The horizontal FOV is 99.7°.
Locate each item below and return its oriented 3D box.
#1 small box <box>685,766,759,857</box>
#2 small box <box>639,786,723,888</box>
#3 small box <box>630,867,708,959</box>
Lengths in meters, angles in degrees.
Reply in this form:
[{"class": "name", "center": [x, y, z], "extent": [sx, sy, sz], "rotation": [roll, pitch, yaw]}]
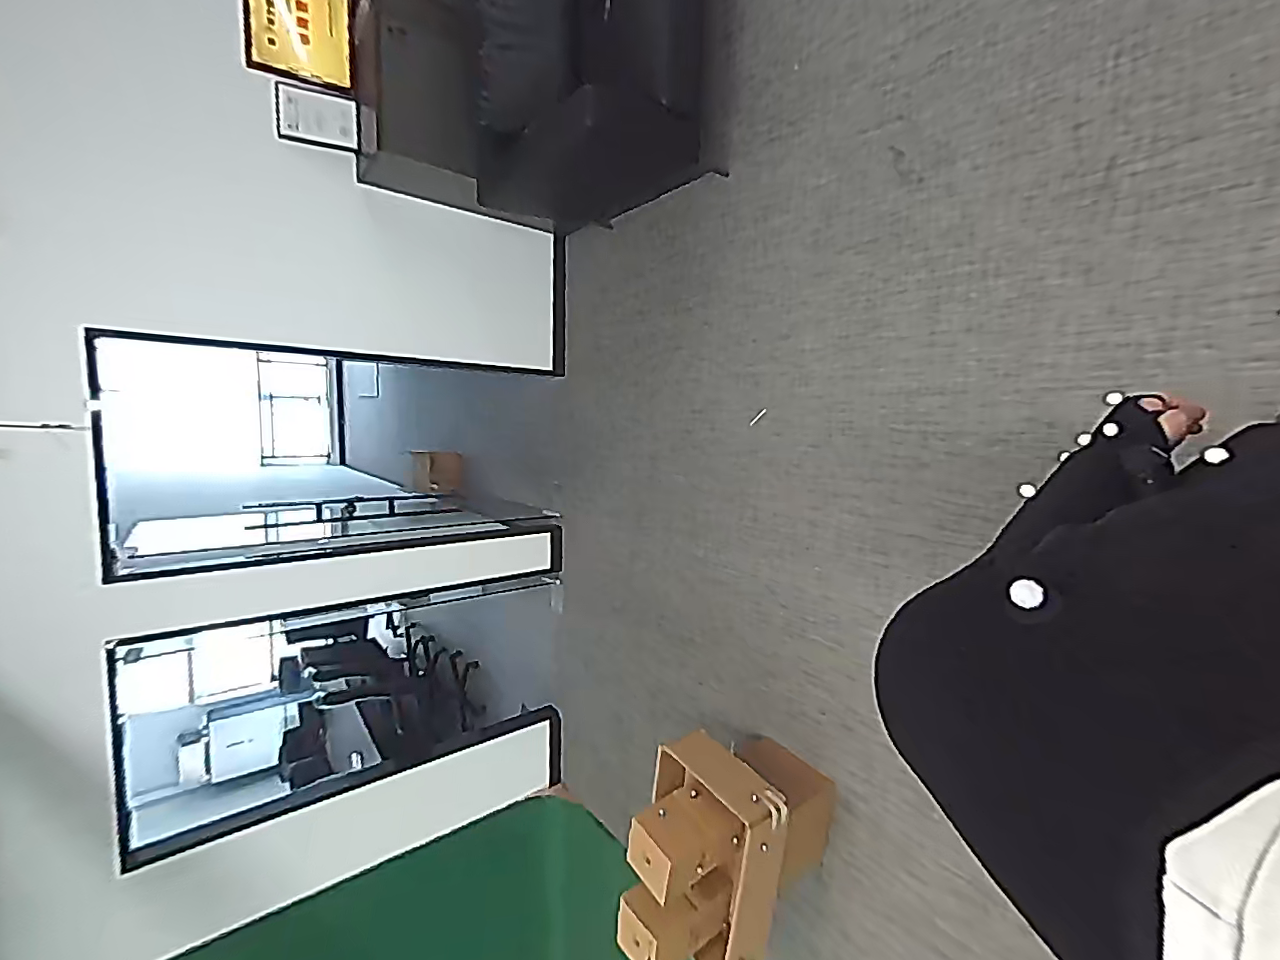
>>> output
[{"class": "small box", "center": [0.251, 1.054, 1.738], "extent": [0.179, 0.176, 0.168], "rotation": [27, 114, 49]}, {"class": "small box", "center": [0.122, 1.067, 1.640], "extent": [0.179, 0.176, 0.168], "rotation": [26, 113, 49]}, {"class": "small box", "center": [0.090, 1.350, 1.704], "extent": [0.179, 0.176, 0.168], "rotation": [17, 107, 51]}]
